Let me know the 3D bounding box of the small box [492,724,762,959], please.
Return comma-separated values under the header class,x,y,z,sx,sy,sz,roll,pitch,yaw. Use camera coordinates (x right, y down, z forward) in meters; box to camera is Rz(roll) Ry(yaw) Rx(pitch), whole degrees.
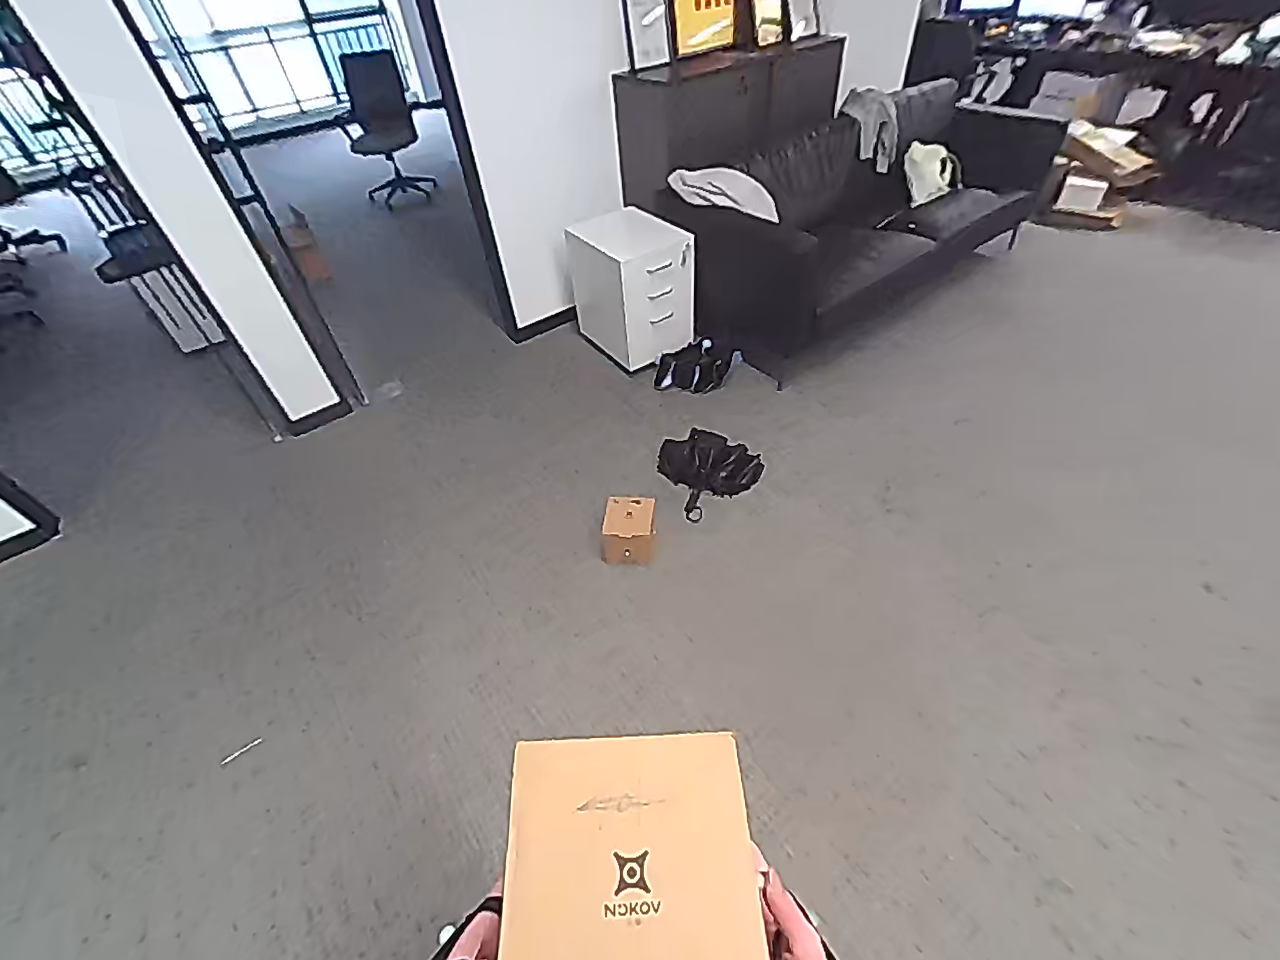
class,x,y,z,sx,sy,sz,roll,pitch,yaw
small box,-0.014,0.305,0.413,0.168,0.176,0.179,-1,51,-6
